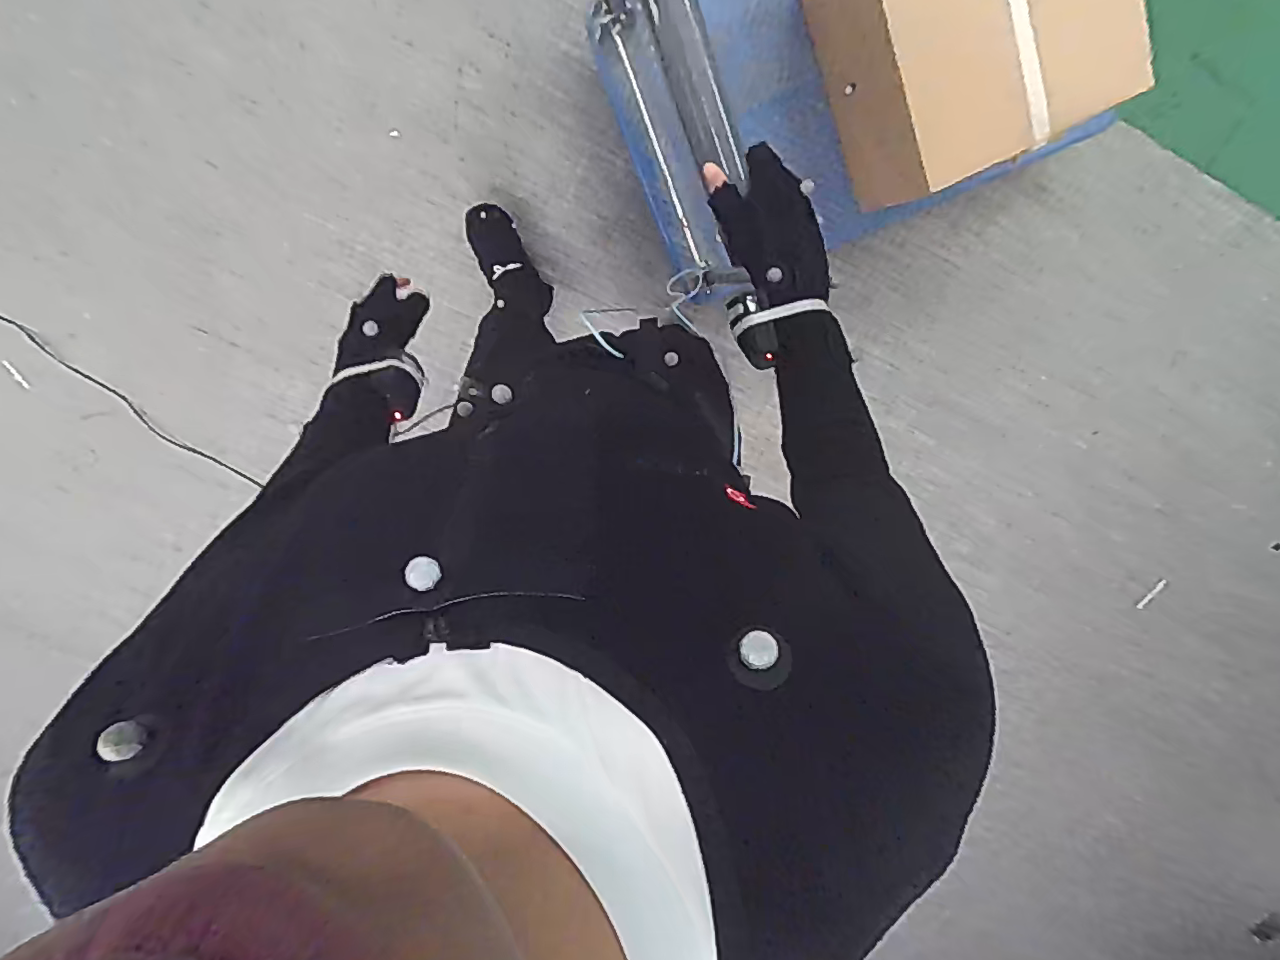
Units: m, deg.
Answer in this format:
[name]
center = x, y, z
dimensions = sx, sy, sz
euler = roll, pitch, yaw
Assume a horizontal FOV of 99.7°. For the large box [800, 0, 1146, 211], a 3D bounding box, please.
[large box]
center = 0.490, -0.710, 0.859
dimensions = 0.320, 0.320, 0.408
euler = -22, 108, 11
